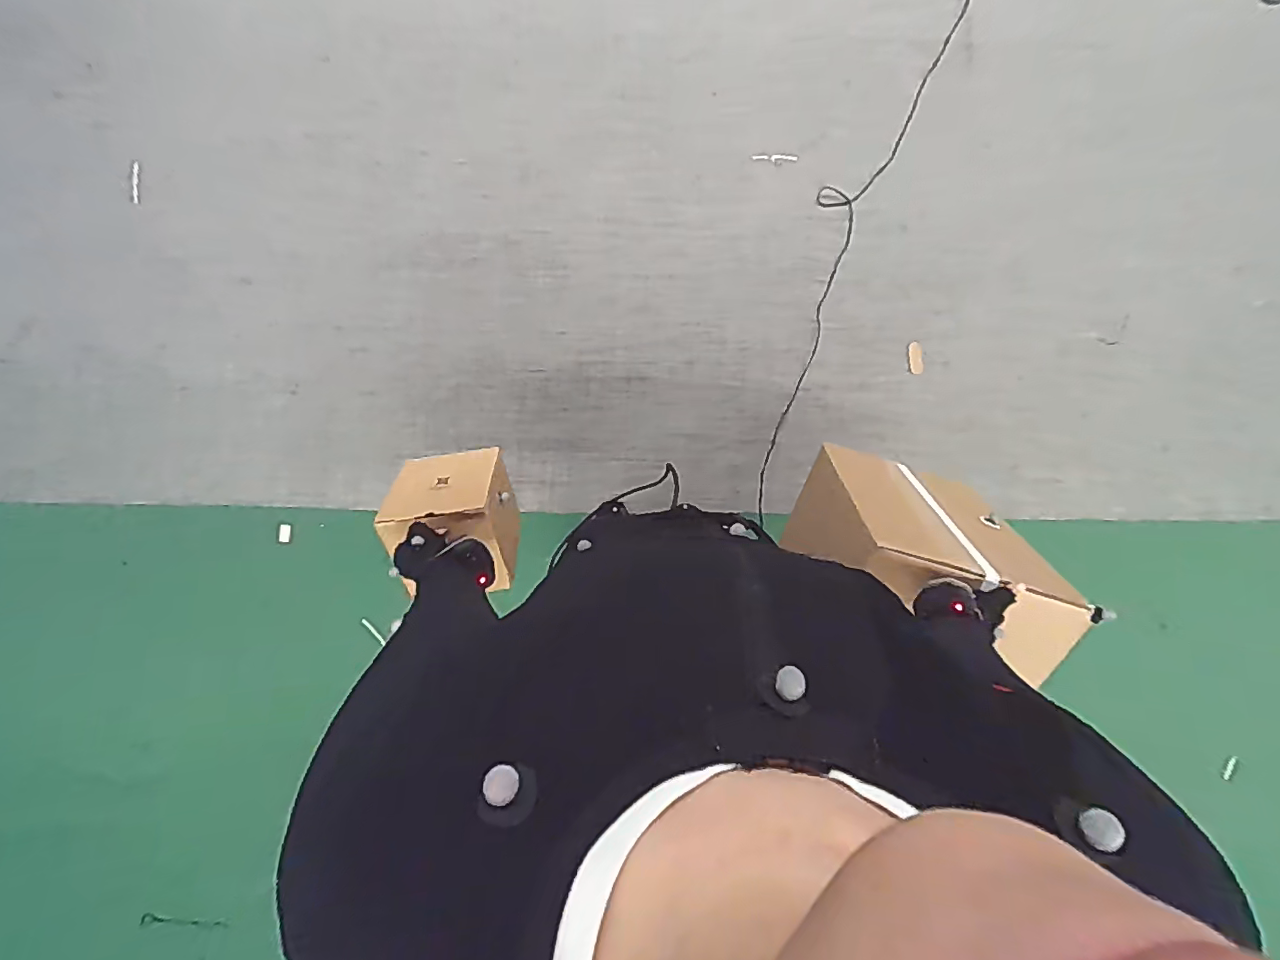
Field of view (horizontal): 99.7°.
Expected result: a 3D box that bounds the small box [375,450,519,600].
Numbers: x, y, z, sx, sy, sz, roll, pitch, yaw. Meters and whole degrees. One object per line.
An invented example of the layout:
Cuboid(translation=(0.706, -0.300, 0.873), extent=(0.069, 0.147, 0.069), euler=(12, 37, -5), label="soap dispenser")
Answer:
Cuboid(translation=(-0.307, 0.073, 0.904), extent=(0.168, 0.179, 0.176), euler=(-9, 126, 0), label="small box")
